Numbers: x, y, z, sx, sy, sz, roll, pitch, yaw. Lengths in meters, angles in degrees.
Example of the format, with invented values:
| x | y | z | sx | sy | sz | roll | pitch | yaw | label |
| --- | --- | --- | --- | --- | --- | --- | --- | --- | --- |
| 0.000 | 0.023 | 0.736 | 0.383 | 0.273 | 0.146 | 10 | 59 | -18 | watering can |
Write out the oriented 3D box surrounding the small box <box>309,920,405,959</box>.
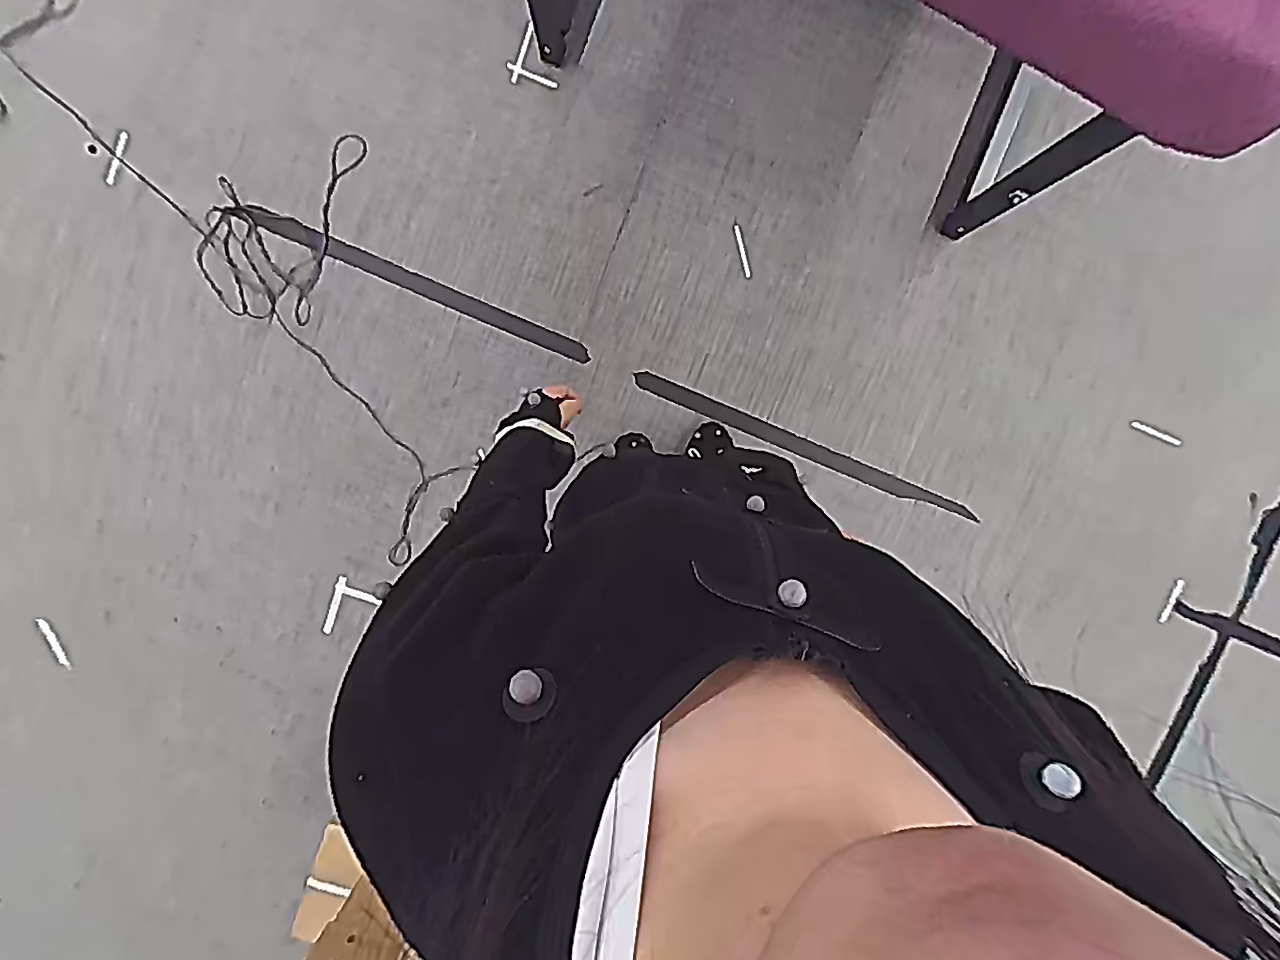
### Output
| x | y | z | sx | sy | sz | roll | pitch | yaw | label |
| --- | --- | --- | --- | --- | --- | --- | --- | --- | --- |
| -0.579 | 1.011 | 1.045 | 0.168 | 0.176 | 0.179 | 17 | 96 | -2 | small box |

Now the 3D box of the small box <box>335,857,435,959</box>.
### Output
| x | y | z | sx | sy | sz | roll | pitch | yaw | label |
| --- | --- | --- | --- | --- | --- | --- | --- | --- | --- |
| -0.580 | 1.002 | 1.207 | 0.168 | 0.176 | 0.179 | 18 | 94 | -3 | small box |
